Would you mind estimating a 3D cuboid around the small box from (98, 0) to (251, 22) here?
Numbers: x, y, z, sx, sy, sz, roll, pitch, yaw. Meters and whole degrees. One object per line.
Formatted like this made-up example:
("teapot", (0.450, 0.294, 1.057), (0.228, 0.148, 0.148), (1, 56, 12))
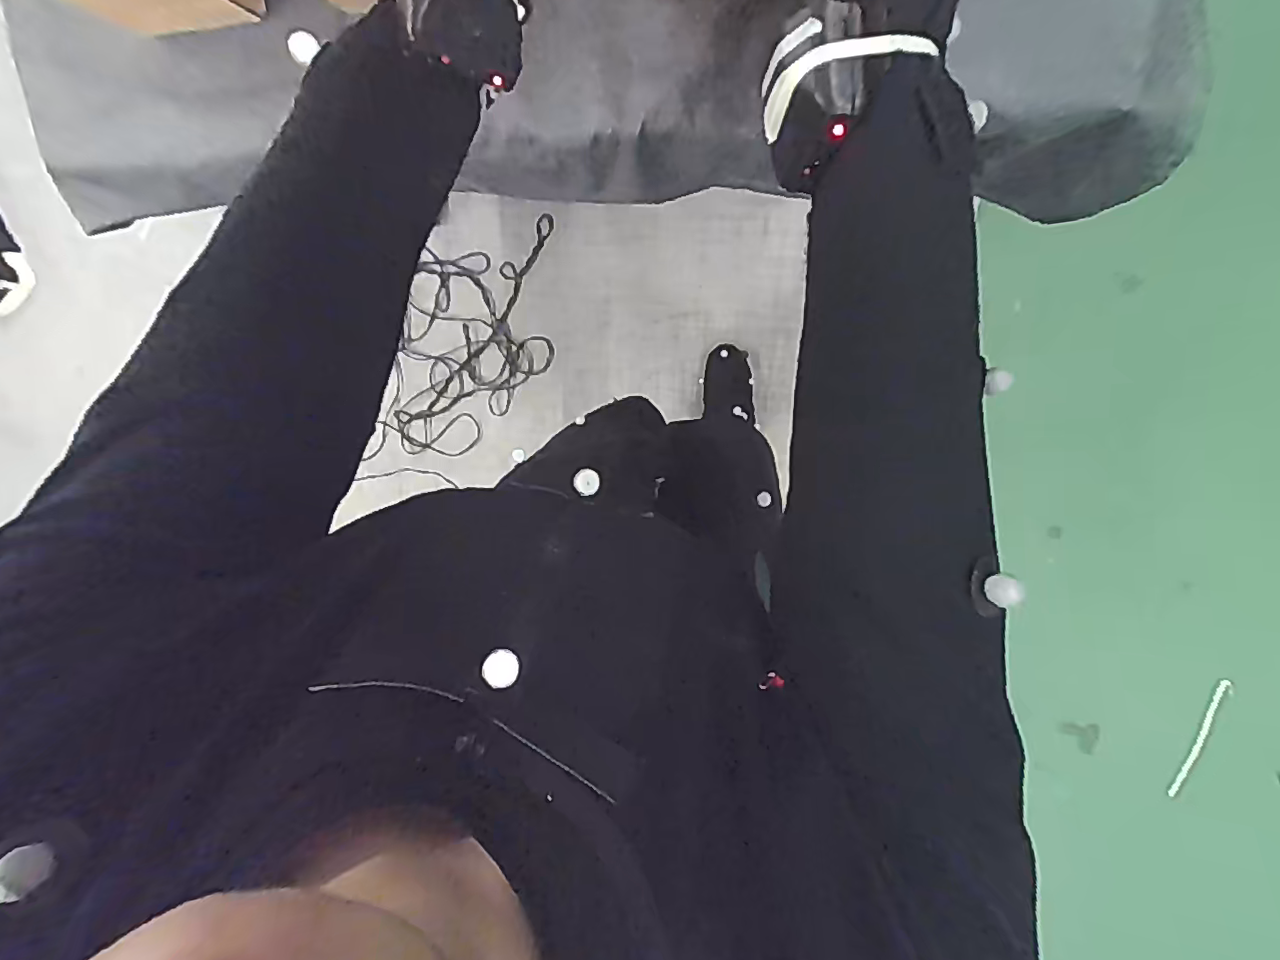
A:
("small box", (-0.500, -0.561, 0.495), (0.179, 0.176, 0.168), (7, 108, 15))
